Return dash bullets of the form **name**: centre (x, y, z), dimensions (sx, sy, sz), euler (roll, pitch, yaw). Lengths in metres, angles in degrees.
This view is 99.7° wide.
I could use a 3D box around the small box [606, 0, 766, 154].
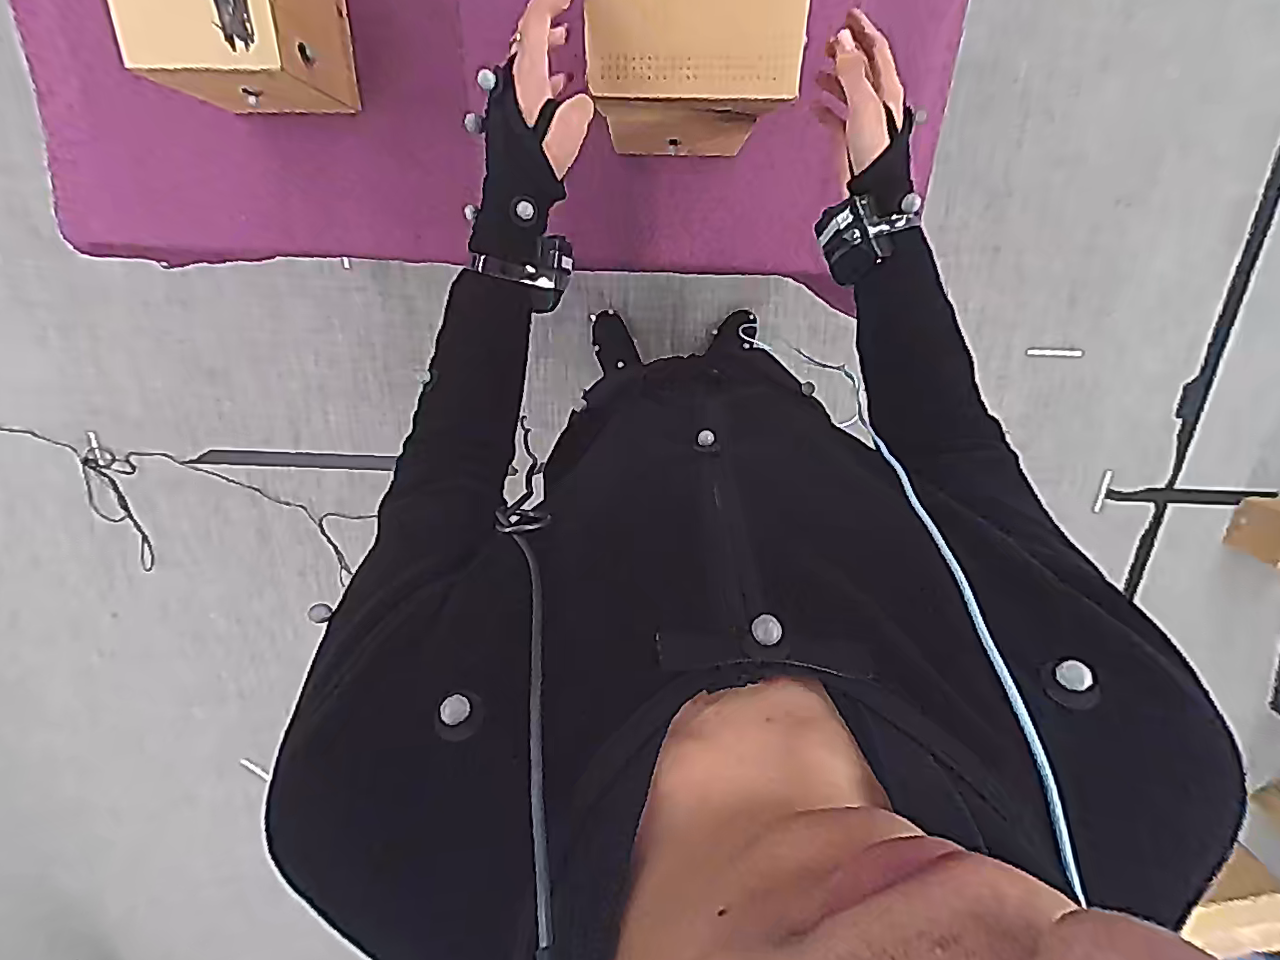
- **small box**: centre (0.050, -0.501, 0.639), dimensions (0.168, 0.176, 0.179), euler (2, 110, 0)
